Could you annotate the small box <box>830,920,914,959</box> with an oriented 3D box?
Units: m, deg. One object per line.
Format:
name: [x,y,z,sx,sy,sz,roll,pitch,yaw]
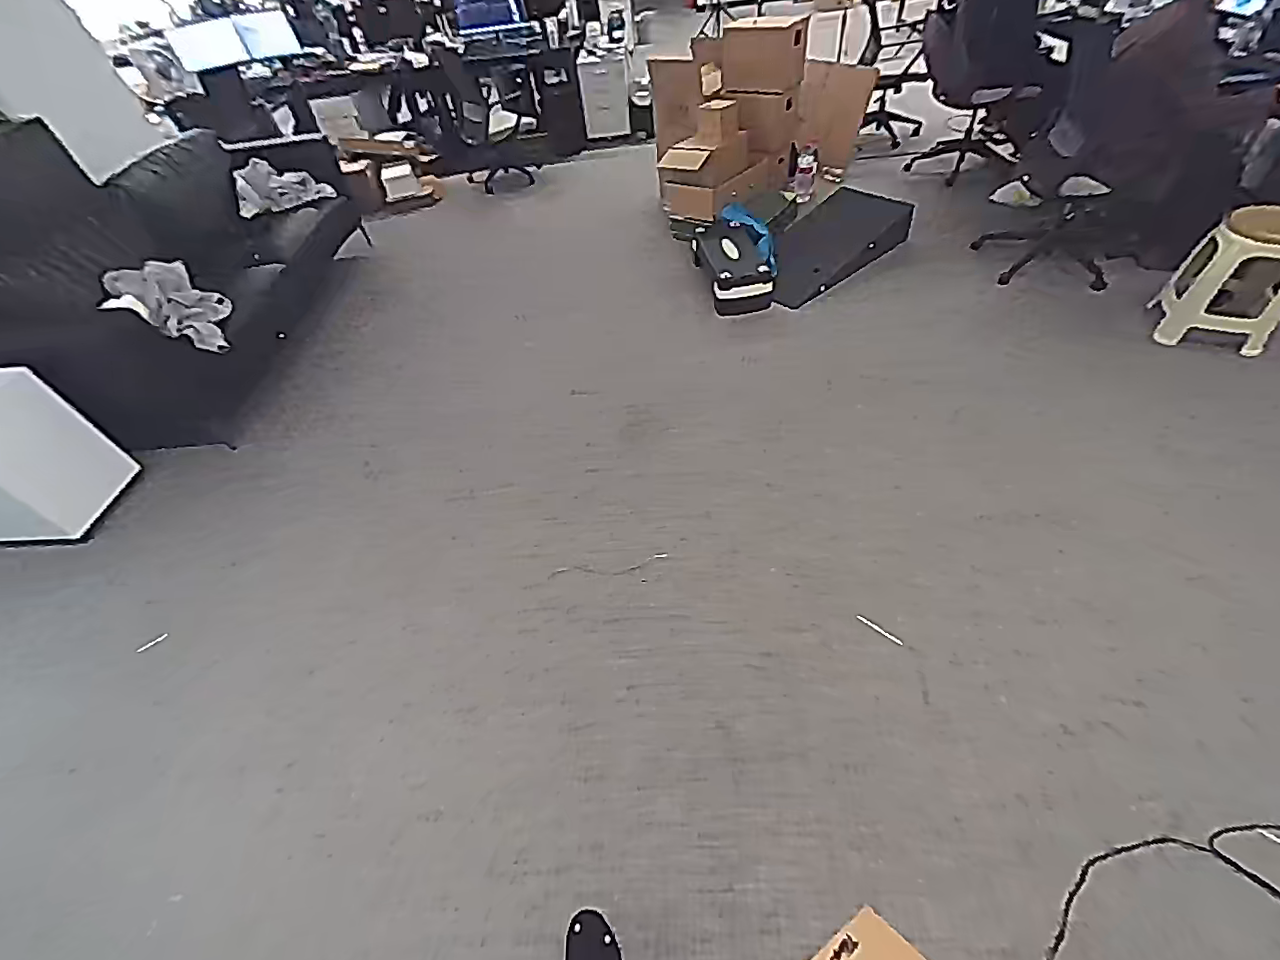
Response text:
small box: [0.315,0.699,0.638,0.168,0.179,0.176,-30,94,-20]
